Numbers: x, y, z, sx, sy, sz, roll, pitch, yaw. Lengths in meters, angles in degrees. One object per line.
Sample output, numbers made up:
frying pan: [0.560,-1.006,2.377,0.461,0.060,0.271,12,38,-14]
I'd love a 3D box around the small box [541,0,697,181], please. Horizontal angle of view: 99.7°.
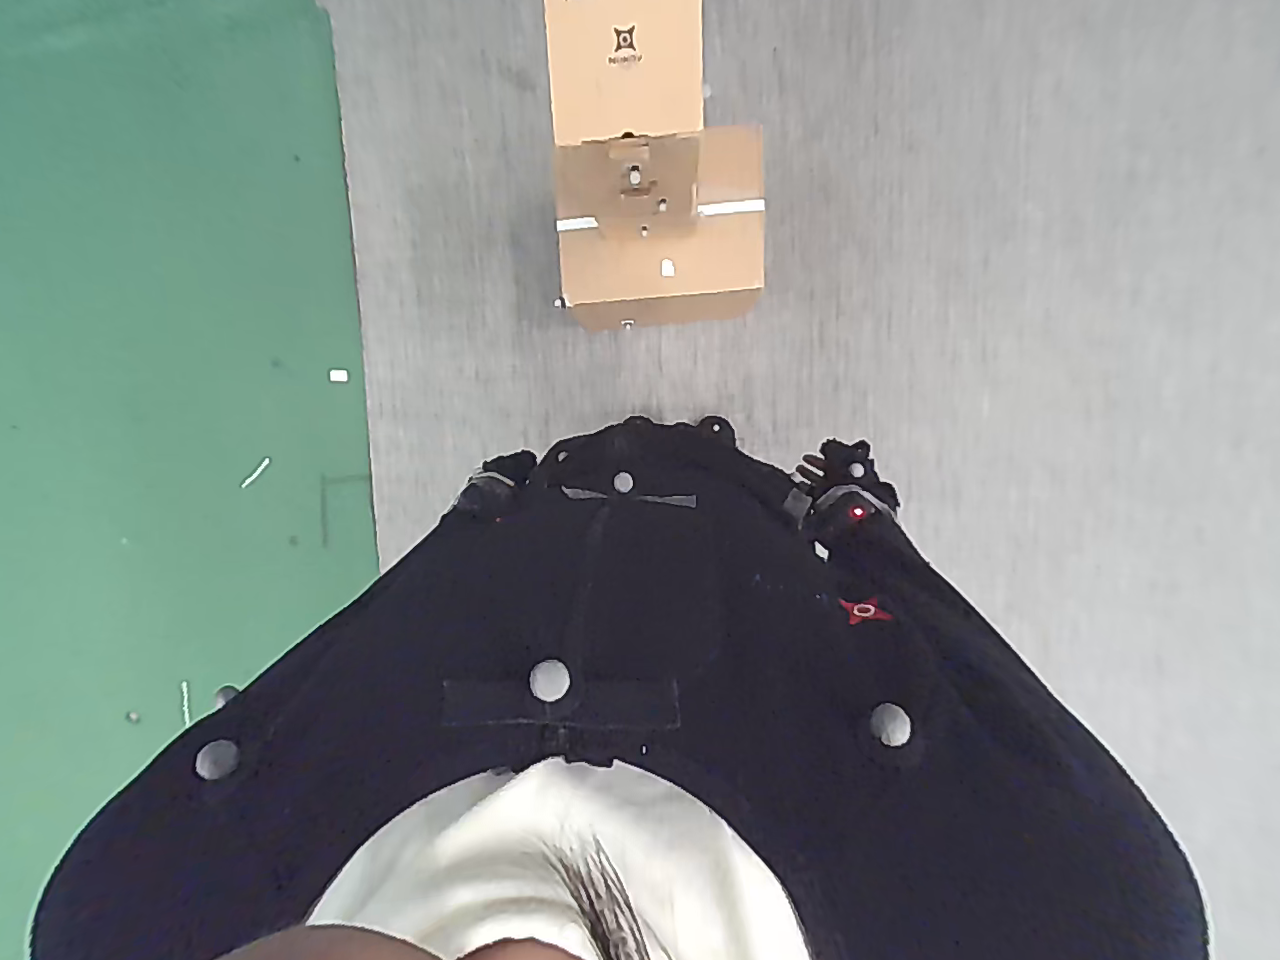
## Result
small box: [-0.015,-0.477,0.652,0.168,0.176,0.179,-1,104,5]

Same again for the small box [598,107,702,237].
small box: [0.016,-0.545,0.969,0.179,0.176,0.168,-4,103,5]

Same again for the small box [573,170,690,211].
small box: [-0.007,-0.516,0.811,0.168,0.176,0.179,-1,102,4]
